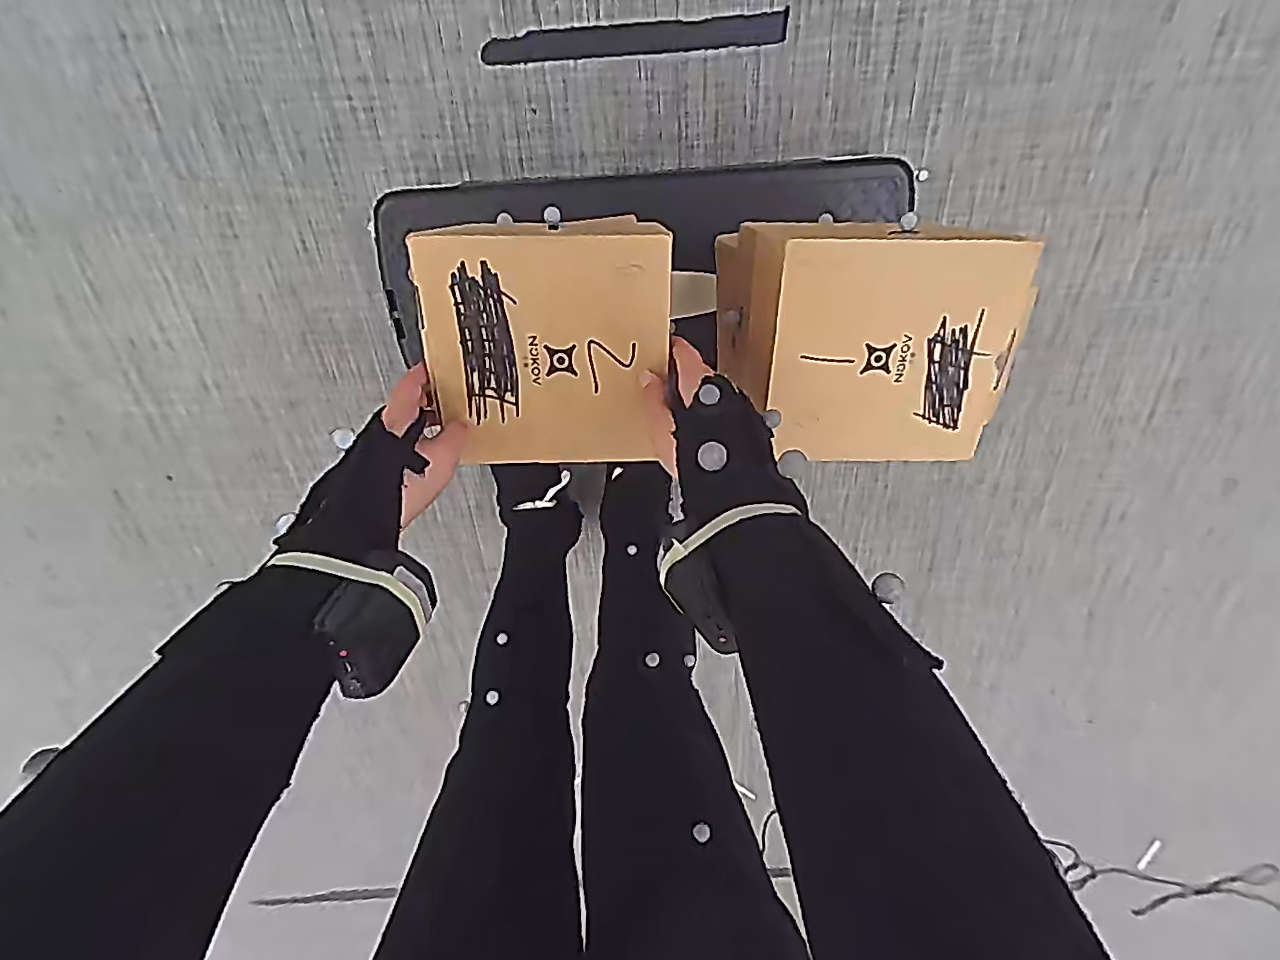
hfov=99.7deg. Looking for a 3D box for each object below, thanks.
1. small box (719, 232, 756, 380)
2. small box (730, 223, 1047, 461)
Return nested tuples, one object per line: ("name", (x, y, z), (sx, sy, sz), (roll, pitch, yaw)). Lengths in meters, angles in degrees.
("small box", (0.184, -0.190, 0.619), (0.168, 0.176, 0.179), (-5, 118, 1))
("small box", (0.184, -0.126, 0.467), (0.179, 0.176, 0.168), (0, 118, -1))
